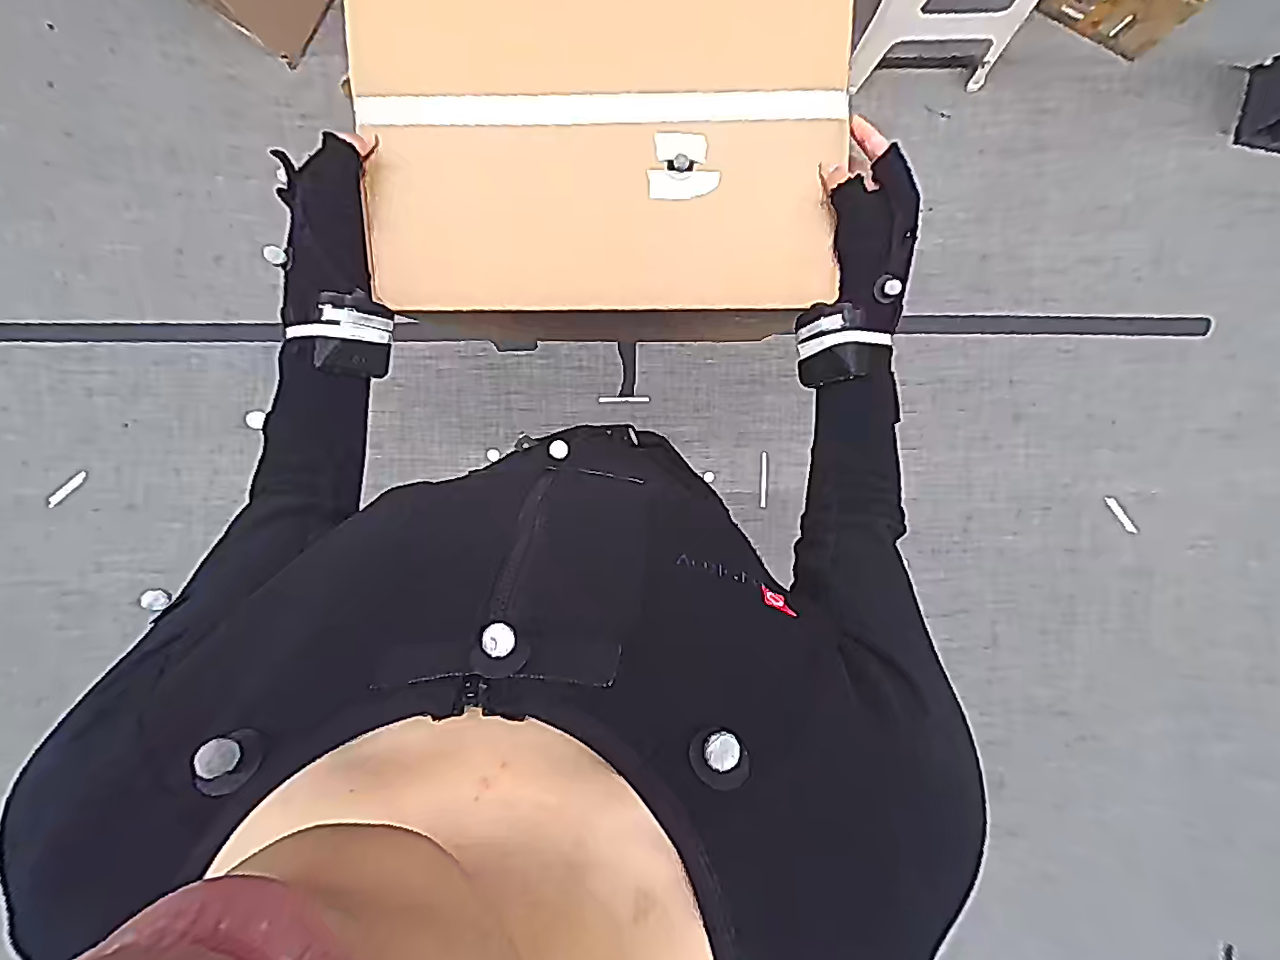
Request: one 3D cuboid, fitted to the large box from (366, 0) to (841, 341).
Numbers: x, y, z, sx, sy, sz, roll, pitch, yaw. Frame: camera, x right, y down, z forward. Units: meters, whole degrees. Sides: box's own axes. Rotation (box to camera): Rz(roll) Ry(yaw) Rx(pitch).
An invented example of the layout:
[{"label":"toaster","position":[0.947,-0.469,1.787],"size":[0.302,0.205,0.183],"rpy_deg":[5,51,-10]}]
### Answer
[{"label":"large box","position":[-0.031,-0.333,0.610],"size":[0.408,0.320,0.320],"rpy_deg":[0,100,0]}]
